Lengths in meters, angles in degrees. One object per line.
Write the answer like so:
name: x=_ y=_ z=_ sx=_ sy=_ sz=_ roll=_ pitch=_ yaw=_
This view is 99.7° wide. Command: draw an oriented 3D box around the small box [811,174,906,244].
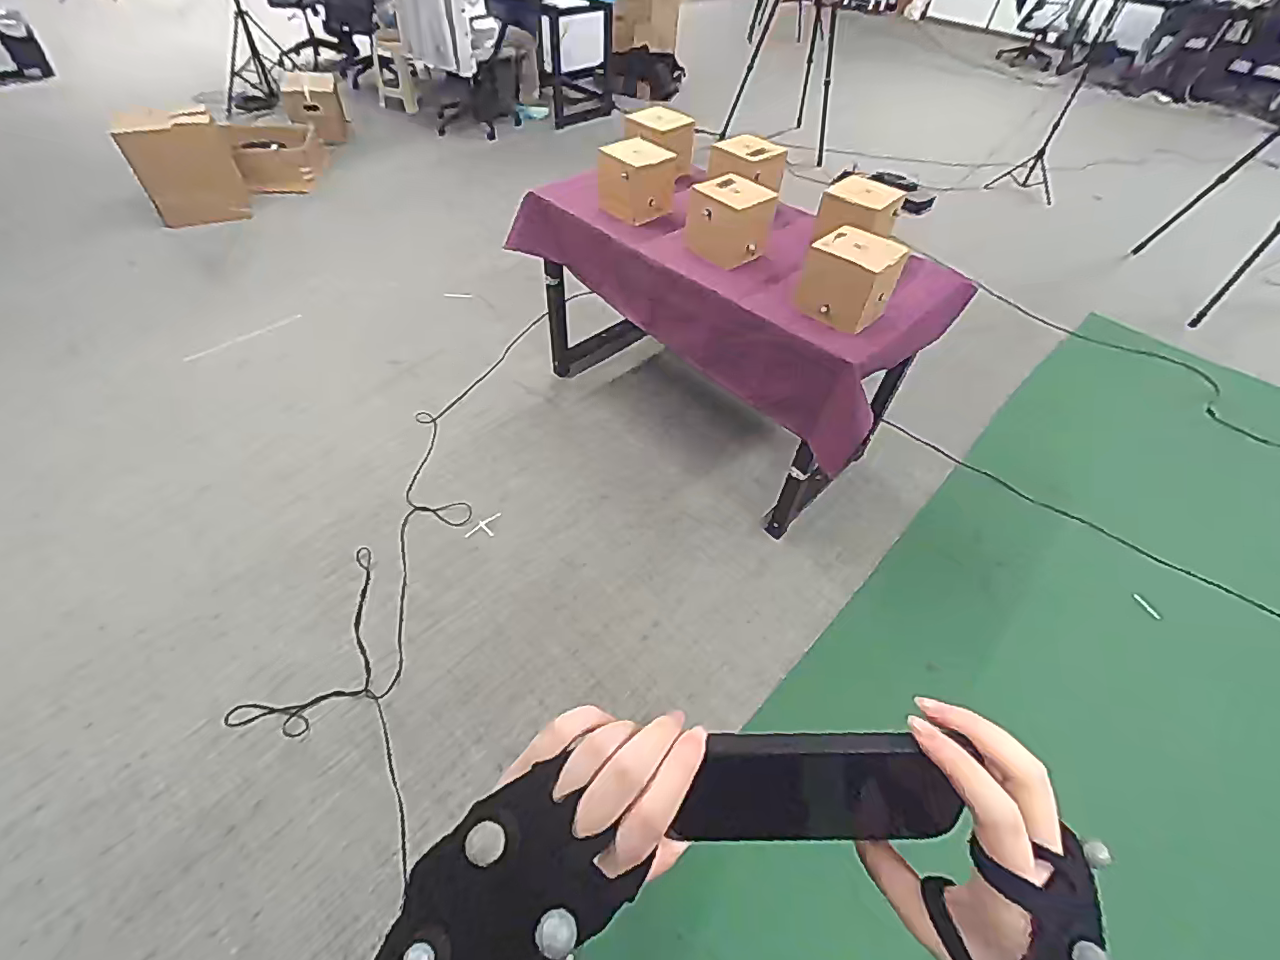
small box: x=0.612 y=-0.735 z=1.534 sx=0.168 sy=0.176 sz=0.179 roll=36 pitch=57 yaw=25

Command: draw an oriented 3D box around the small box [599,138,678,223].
small box: x=-0.010 y=-0.908 z=1.640 sx=0.168 sy=0.176 sz=0.179 roll=-35 pitch=61 yaw=-29

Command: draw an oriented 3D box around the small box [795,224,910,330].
small box: x=0.509 y=-0.487 z=1.316 sx=0.179 sy=0.176 sz=0.168 roll=38 pitch=57 yaw=25

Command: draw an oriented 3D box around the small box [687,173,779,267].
small box: x=0.249 y=-0.717 z=1.495 sx=0.168 sy=0.176 sz=0.179 roll=-33 pitch=60 yaw=-27
